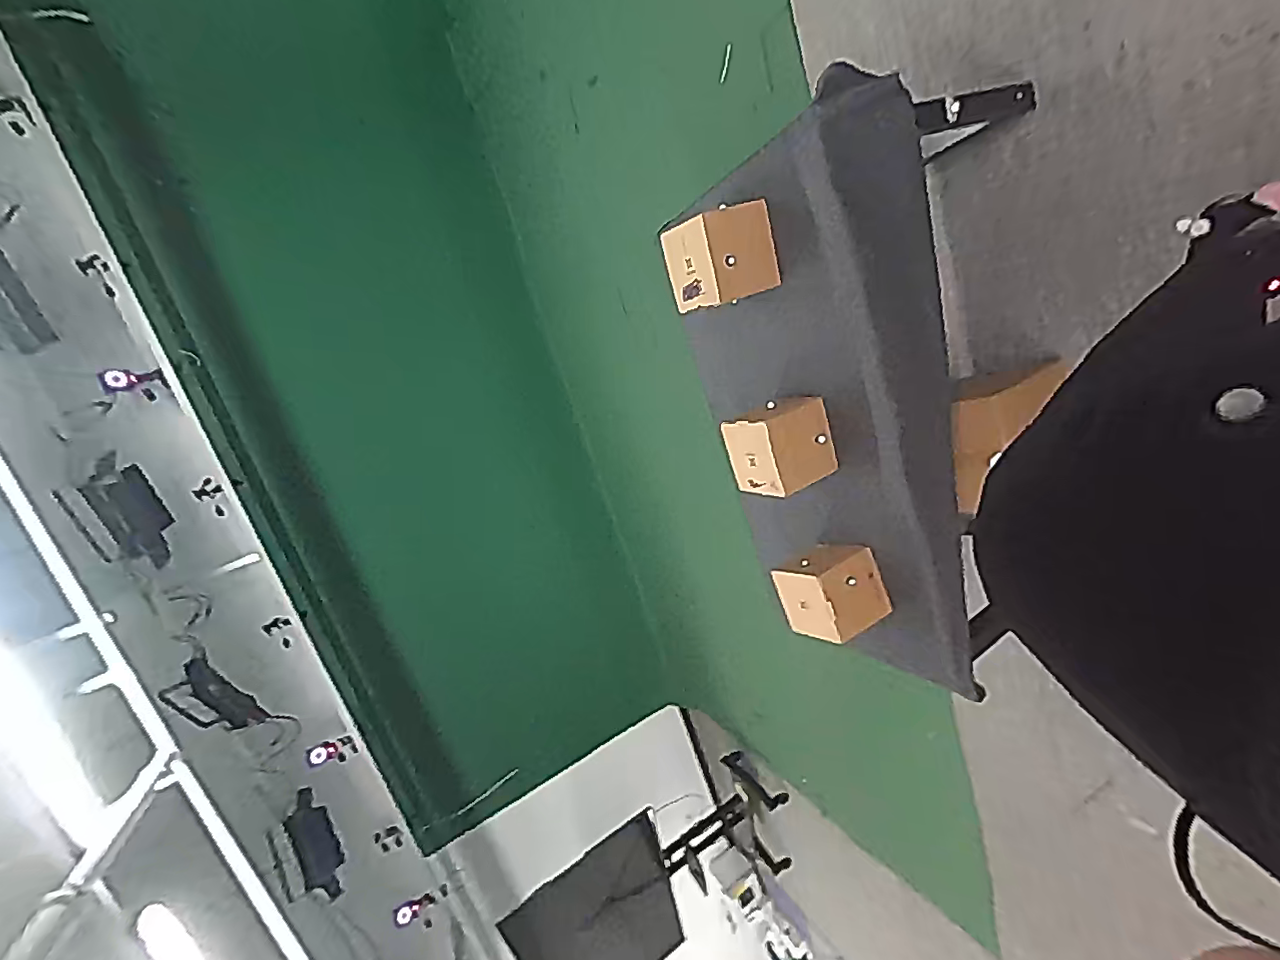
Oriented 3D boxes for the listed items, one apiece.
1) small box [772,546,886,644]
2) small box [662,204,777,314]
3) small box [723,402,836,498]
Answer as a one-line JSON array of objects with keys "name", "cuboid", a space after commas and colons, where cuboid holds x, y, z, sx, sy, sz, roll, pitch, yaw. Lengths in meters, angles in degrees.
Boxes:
[{"name": "small box", "cuboid": [0.456, 0.266, 1.292, 0.168, 0.176, 0.179, 69, 160, -3]}, {"name": "small box", "cuboid": [0.177, -0.477, 1.179, 0.168, 0.176, 0.179, 17, 127, 61]}, {"name": "small box", "cuboid": [0.324, -0.077, 1.250, 0.168, 0.176, 0.179, 11, 121, 64]}]
